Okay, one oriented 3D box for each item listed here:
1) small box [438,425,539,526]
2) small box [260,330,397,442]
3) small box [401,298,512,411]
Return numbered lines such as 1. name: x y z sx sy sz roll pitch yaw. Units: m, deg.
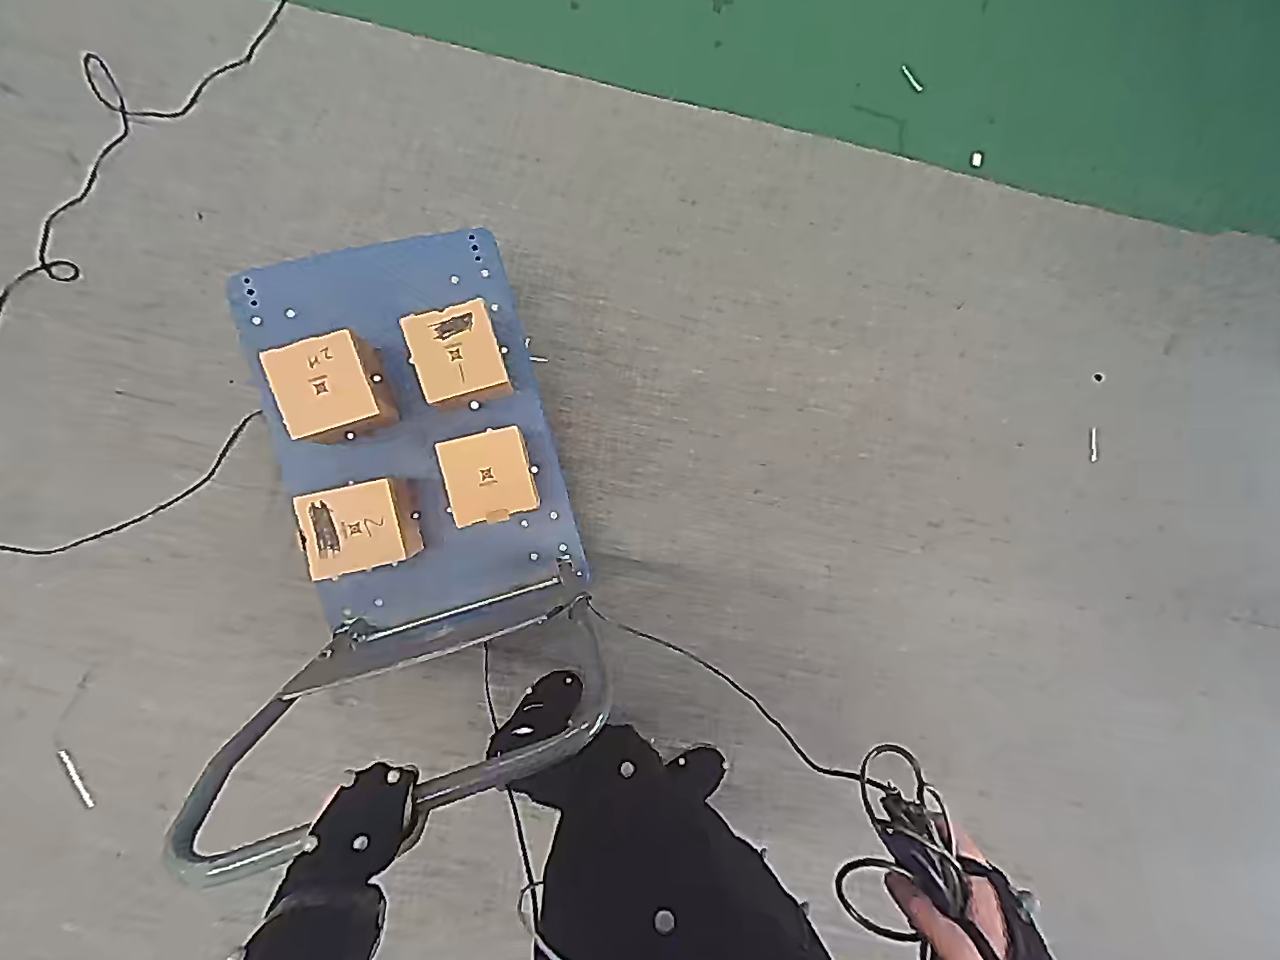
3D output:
1. small box: -0.317 -0.010 1.155 0.168 0.176 0.179 -14 94 -10
2. small box: -0.618 -0.182 1.098 0.168 0.176 0.179 -19 94 -10
3. small box: -0.378 -0.257 1.140 0.168 0.176 0.179 -18 94 -9
